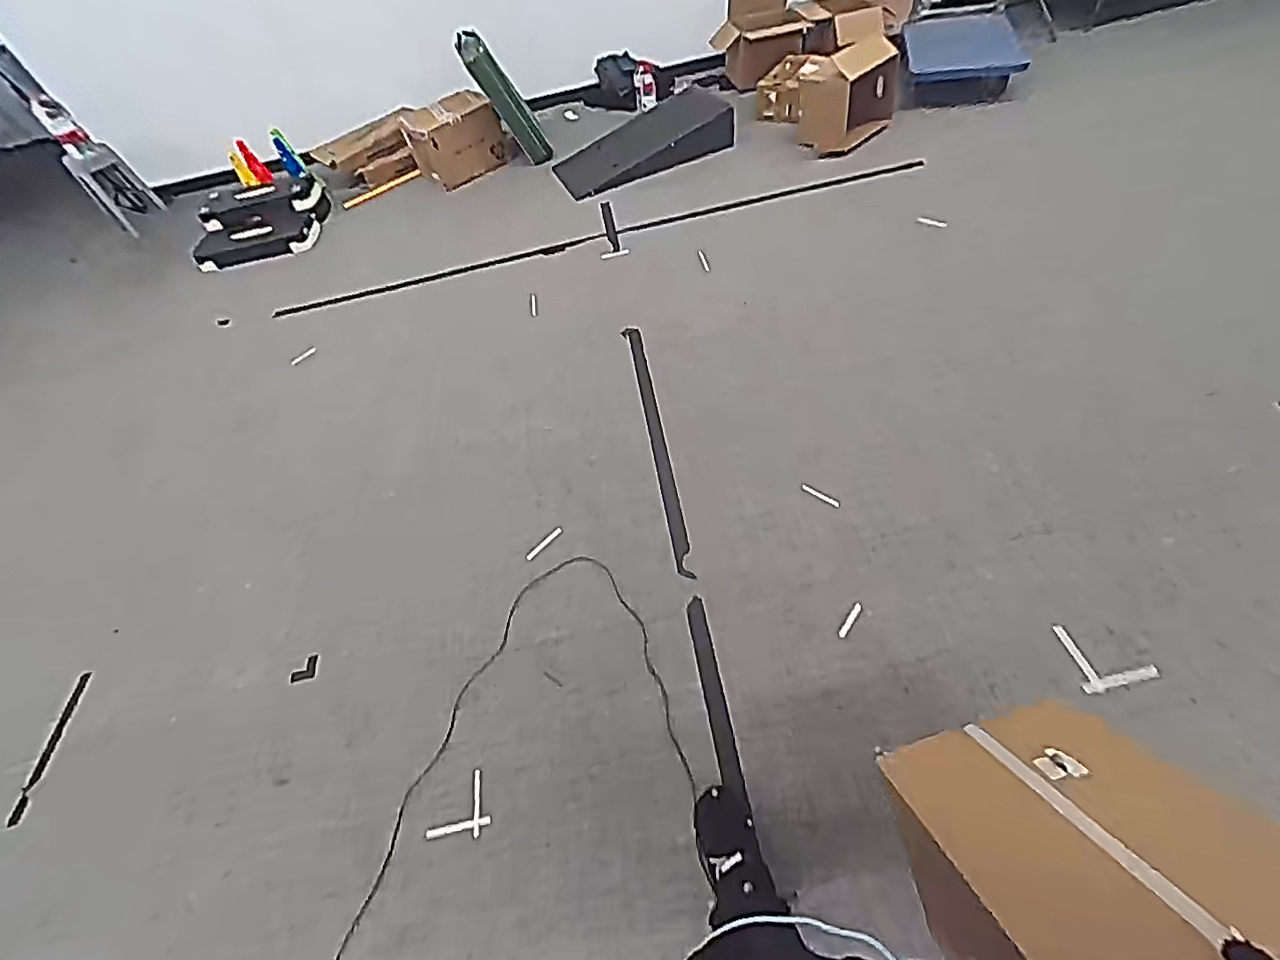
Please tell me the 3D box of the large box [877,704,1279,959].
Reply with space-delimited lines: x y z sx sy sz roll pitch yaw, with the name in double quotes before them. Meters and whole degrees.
"large box" 0.572 0.557 0.677 0.320 0.408 0.320 -17 93 0
